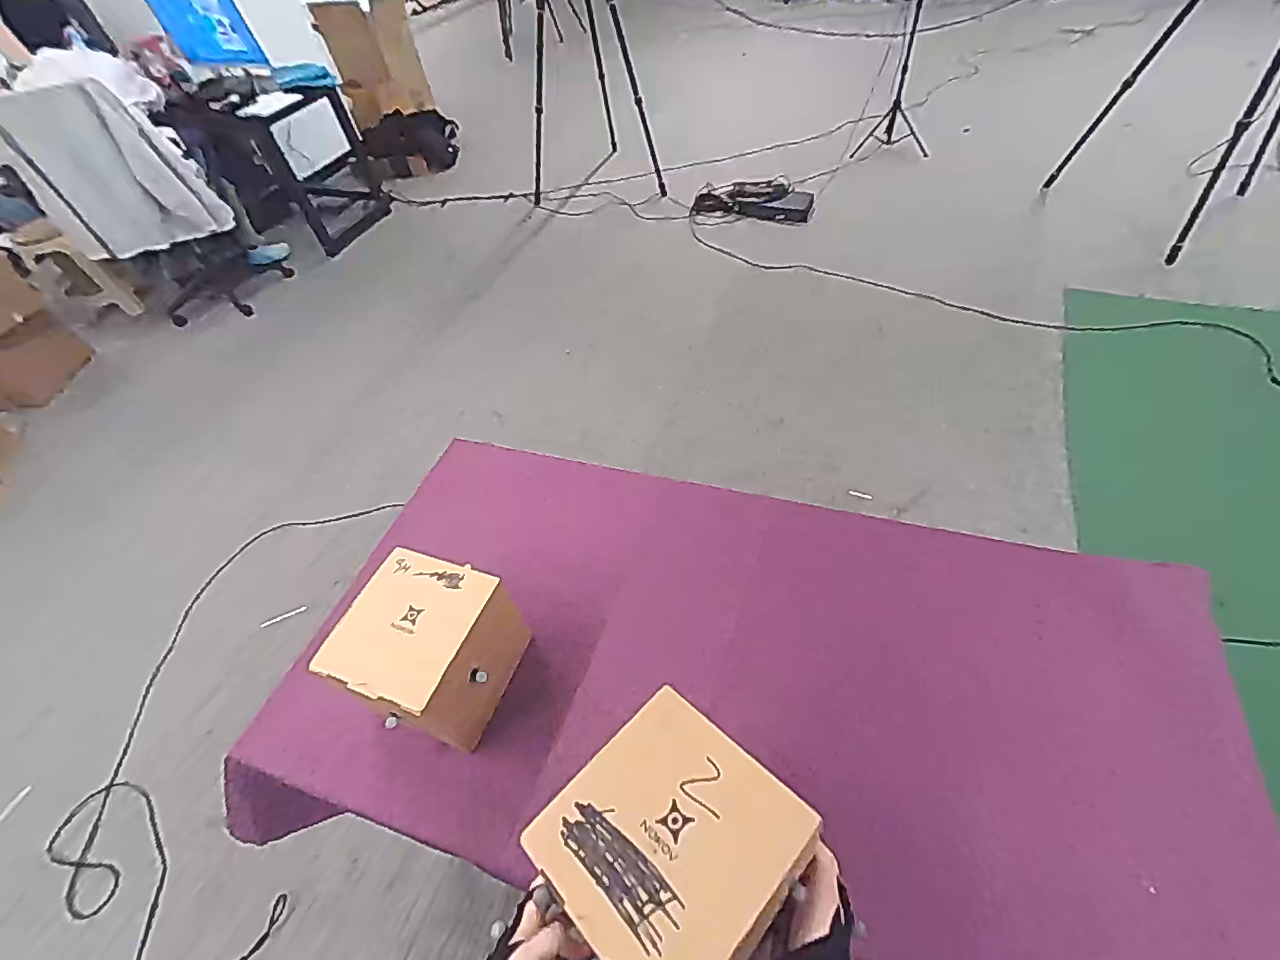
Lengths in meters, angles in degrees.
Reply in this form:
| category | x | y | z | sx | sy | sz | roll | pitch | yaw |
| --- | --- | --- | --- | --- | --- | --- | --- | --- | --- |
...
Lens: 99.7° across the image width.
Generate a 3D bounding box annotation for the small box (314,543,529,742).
| category | x | y | z | sx | sy | sz | roll | pitch | yaw |
| --- | --- | --- | --- | --- | --- | --- | --- | --- | --- |
| small box | -0.268 | 0.217 | 0.713 | 0.168 | 0.176 | 0.179 | 15 | 55 | 17 |
